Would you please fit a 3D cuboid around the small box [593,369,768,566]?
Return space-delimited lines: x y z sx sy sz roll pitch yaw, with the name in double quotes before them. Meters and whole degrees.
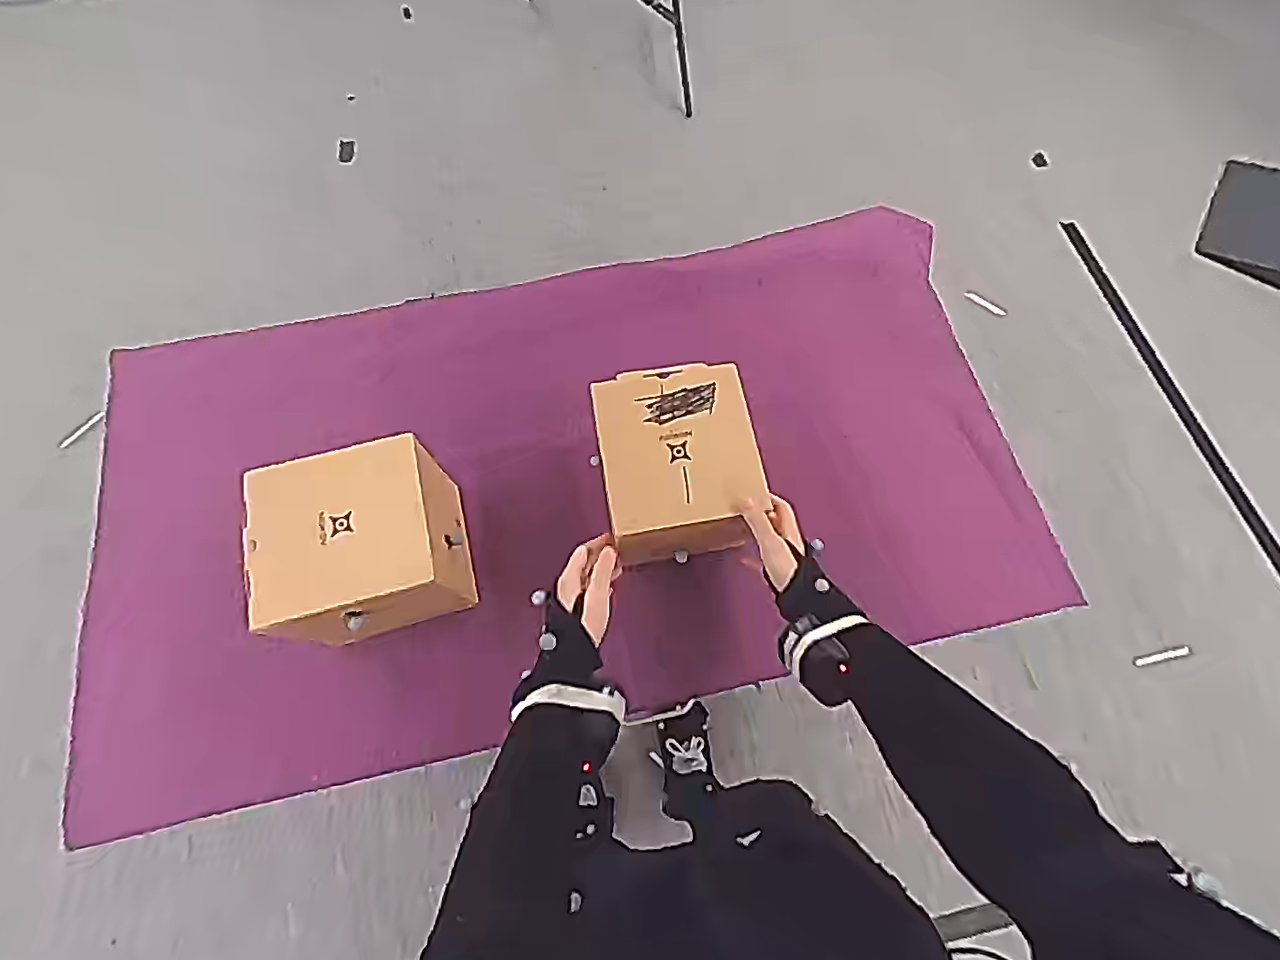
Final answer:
"small box" 0.037 -0.007 0.650 0.168 0.176 0.179 -9 71 -4

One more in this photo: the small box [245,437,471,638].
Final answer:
"small box" -0.304 0.074 0.616 0.179 0.176 0.168 -15 71 -6
